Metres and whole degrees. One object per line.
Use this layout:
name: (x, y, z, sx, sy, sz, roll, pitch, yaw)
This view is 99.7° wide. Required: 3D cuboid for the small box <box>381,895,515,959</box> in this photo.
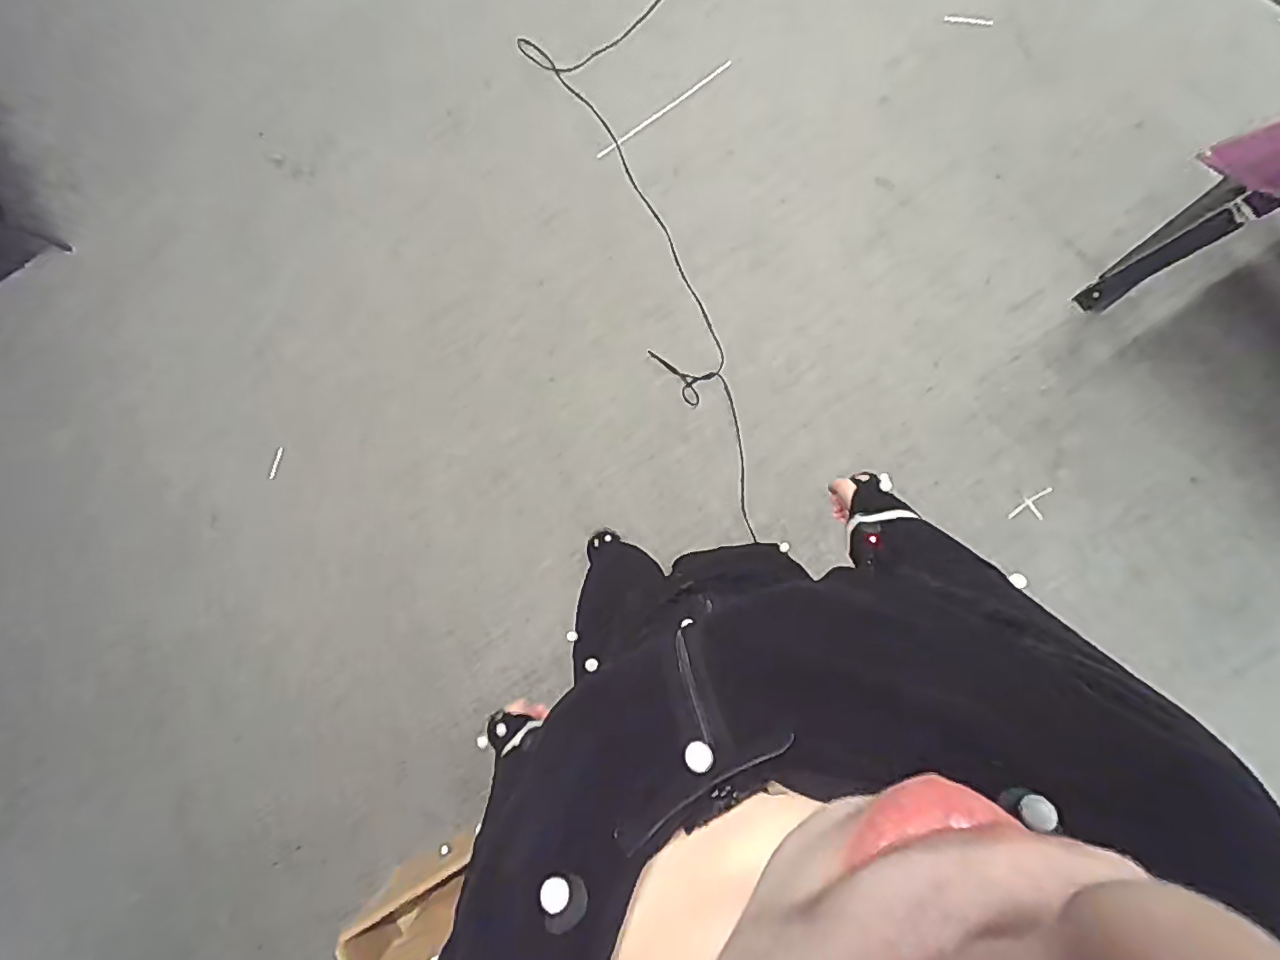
small box: (-0.280, 0.737, 0.755, 0.179, 0.176, 0.168, -27, 82, 3)
